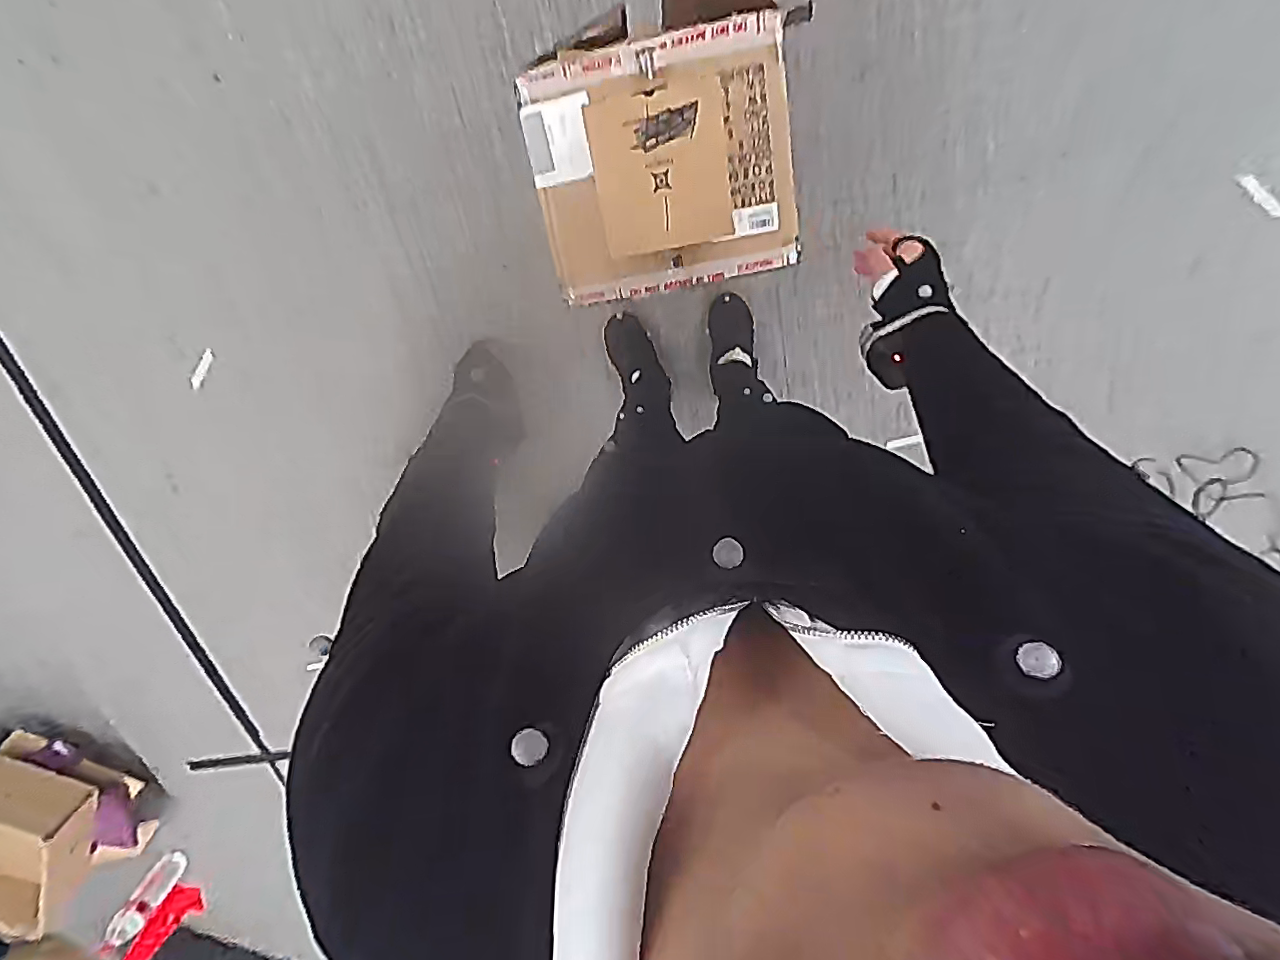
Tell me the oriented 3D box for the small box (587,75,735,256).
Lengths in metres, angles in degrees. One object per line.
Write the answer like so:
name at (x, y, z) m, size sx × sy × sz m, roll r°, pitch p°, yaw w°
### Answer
small box at (0.031, -0.418, 0.741) m, size 0.168 × 0.176 × 0.179 m, roll -8°, pitch 116°, yaw 6°
